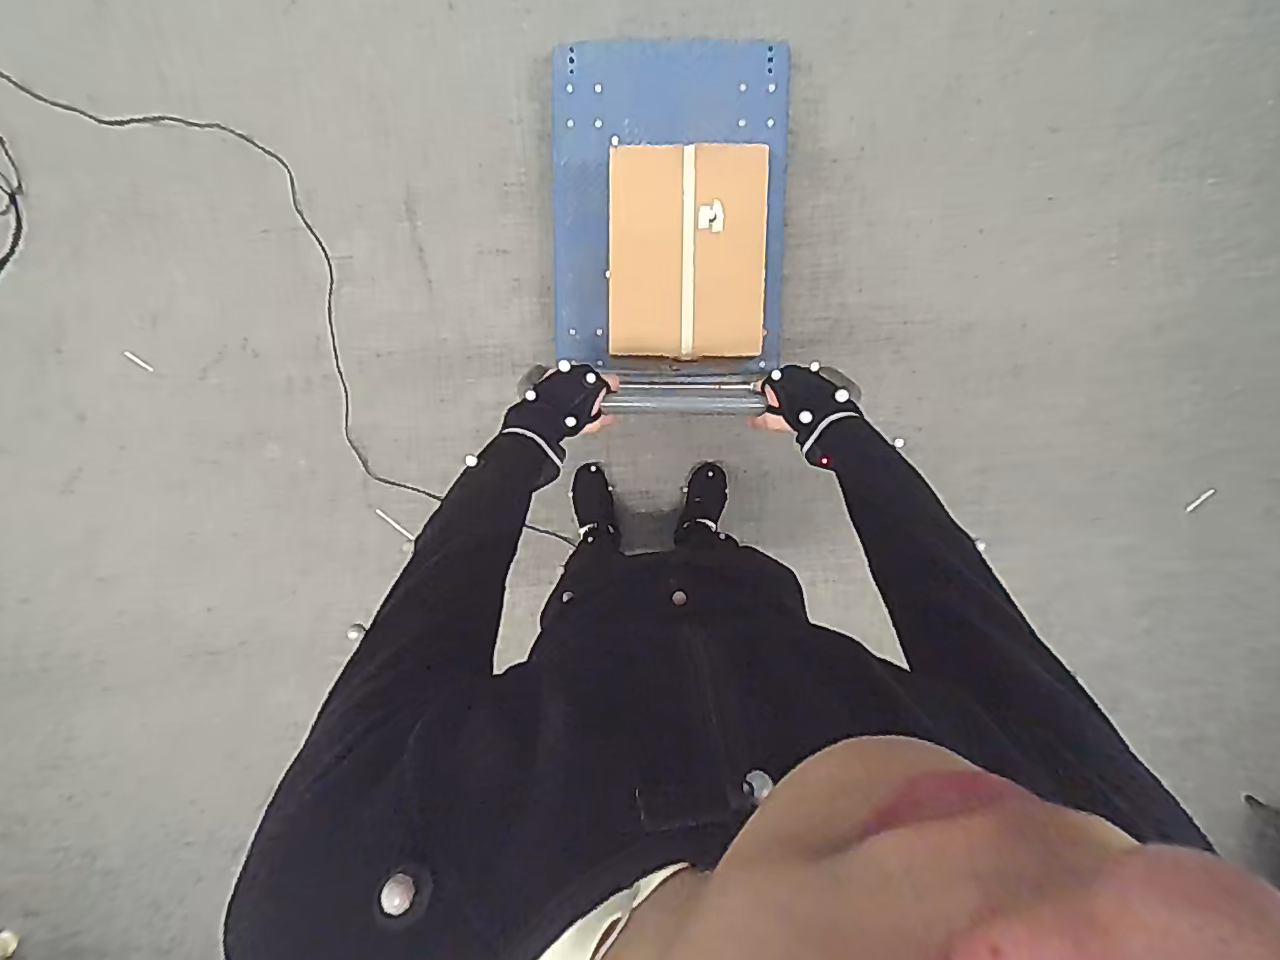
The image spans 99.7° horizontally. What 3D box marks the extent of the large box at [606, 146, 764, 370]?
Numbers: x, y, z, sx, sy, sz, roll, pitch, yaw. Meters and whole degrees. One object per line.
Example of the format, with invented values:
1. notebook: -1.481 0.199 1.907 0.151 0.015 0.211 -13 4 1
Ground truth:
1. large box: 0.093 -0.468 1.223 0.320 0.320 0.408 0 96 0
